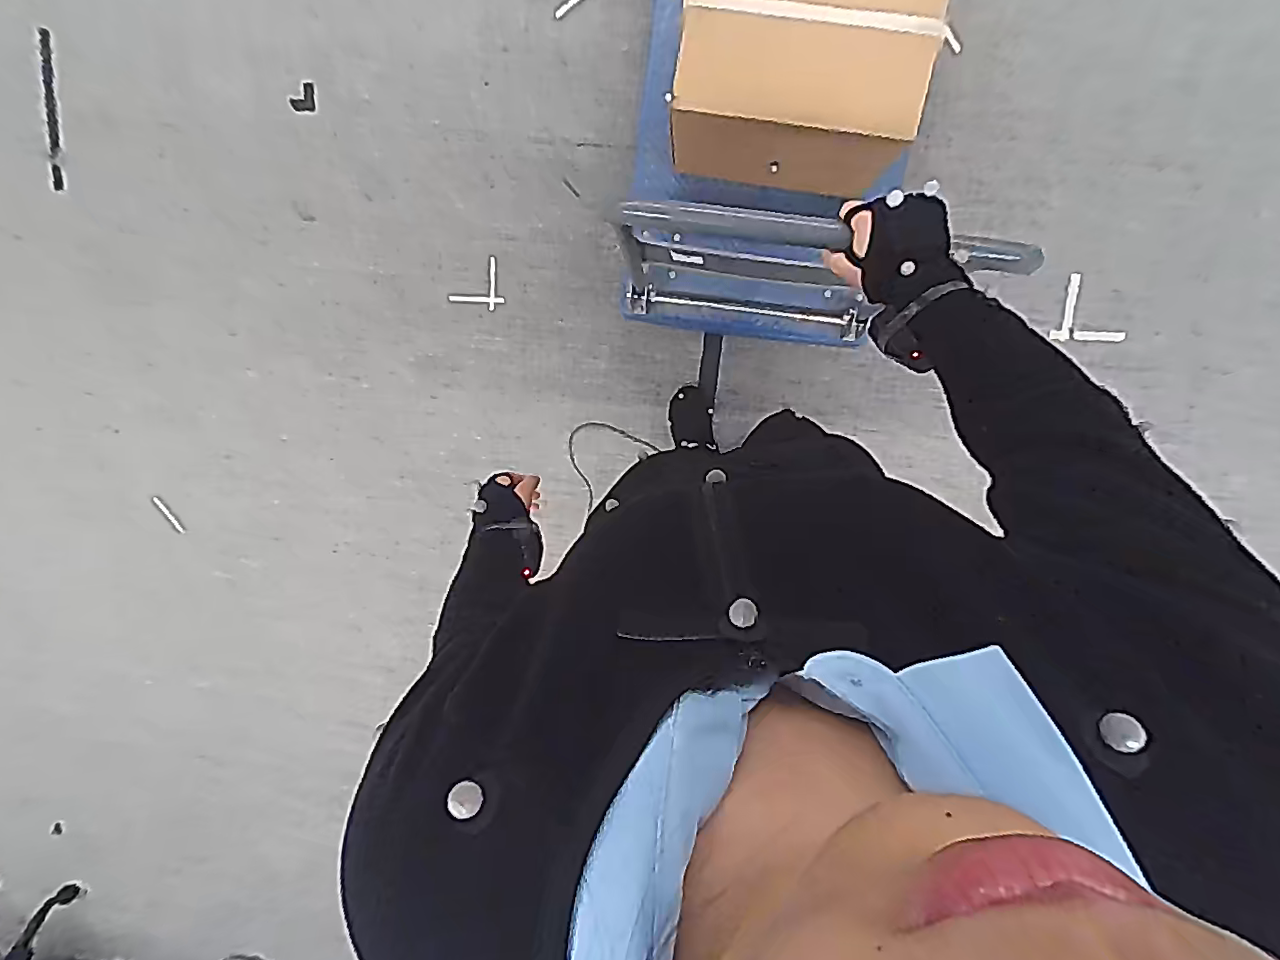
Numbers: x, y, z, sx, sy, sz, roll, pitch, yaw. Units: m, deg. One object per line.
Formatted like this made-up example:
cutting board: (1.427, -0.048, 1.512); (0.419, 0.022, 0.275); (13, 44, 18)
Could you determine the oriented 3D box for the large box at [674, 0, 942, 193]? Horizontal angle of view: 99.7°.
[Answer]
large box: (0.289, -0.770, 1.016); (0.408, 0.320, 0.320); (10, 101, 4)
